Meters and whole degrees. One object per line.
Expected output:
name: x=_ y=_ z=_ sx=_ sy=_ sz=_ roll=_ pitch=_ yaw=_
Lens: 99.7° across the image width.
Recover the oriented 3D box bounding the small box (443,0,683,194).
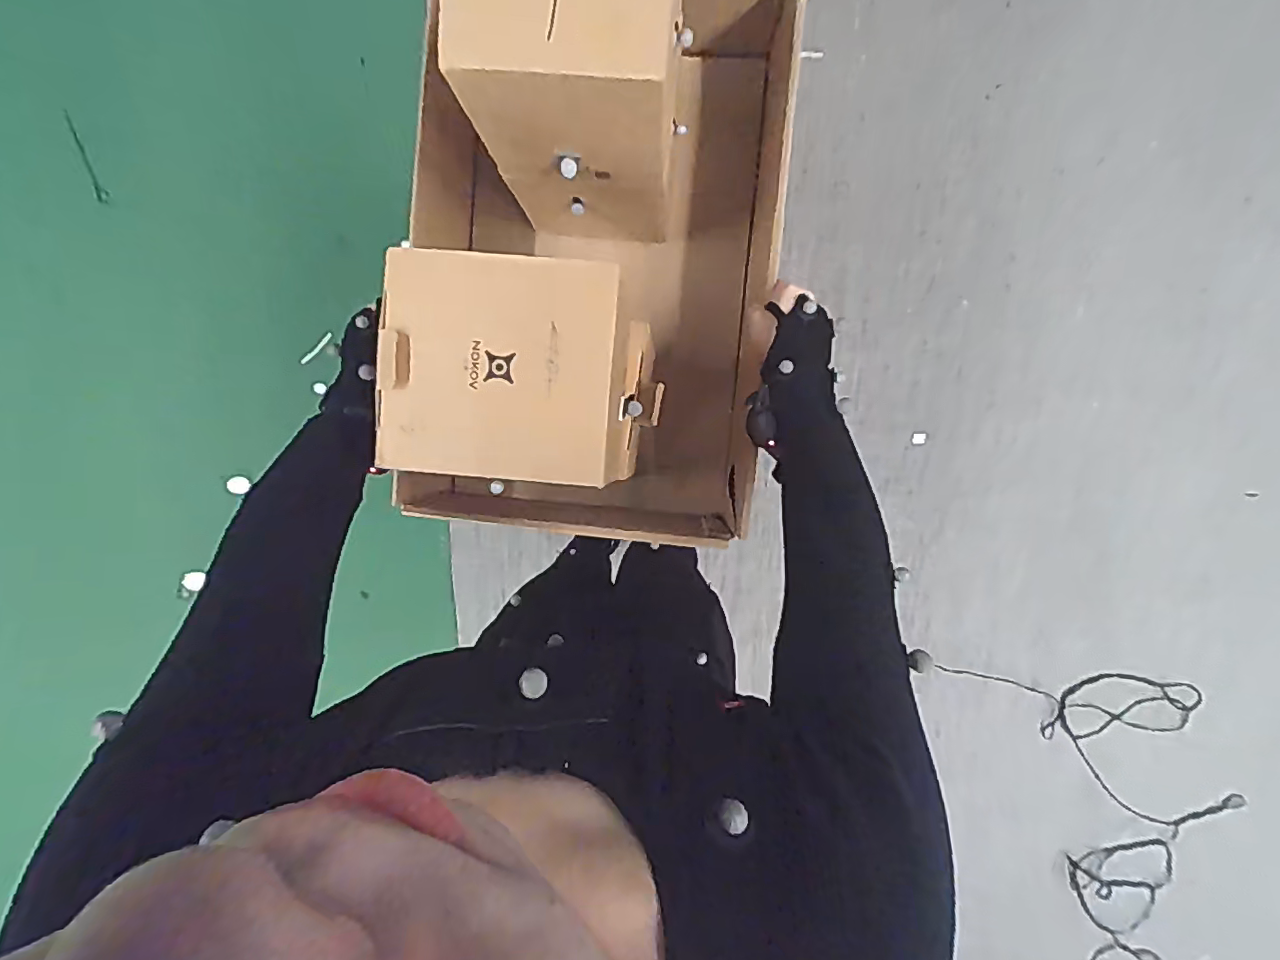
small box: x=-0.050 y=-0.376 z=0.461 sx=0.168 sy=0.176 sz=0.179 roll=6 pitch=96 yaw=2

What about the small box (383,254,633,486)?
small box: x=-0.102 y=-0.088 z=0.488 sx=0.179 sy=0.176 sz=0.168 roll=4 pitch=95 yaw=1
